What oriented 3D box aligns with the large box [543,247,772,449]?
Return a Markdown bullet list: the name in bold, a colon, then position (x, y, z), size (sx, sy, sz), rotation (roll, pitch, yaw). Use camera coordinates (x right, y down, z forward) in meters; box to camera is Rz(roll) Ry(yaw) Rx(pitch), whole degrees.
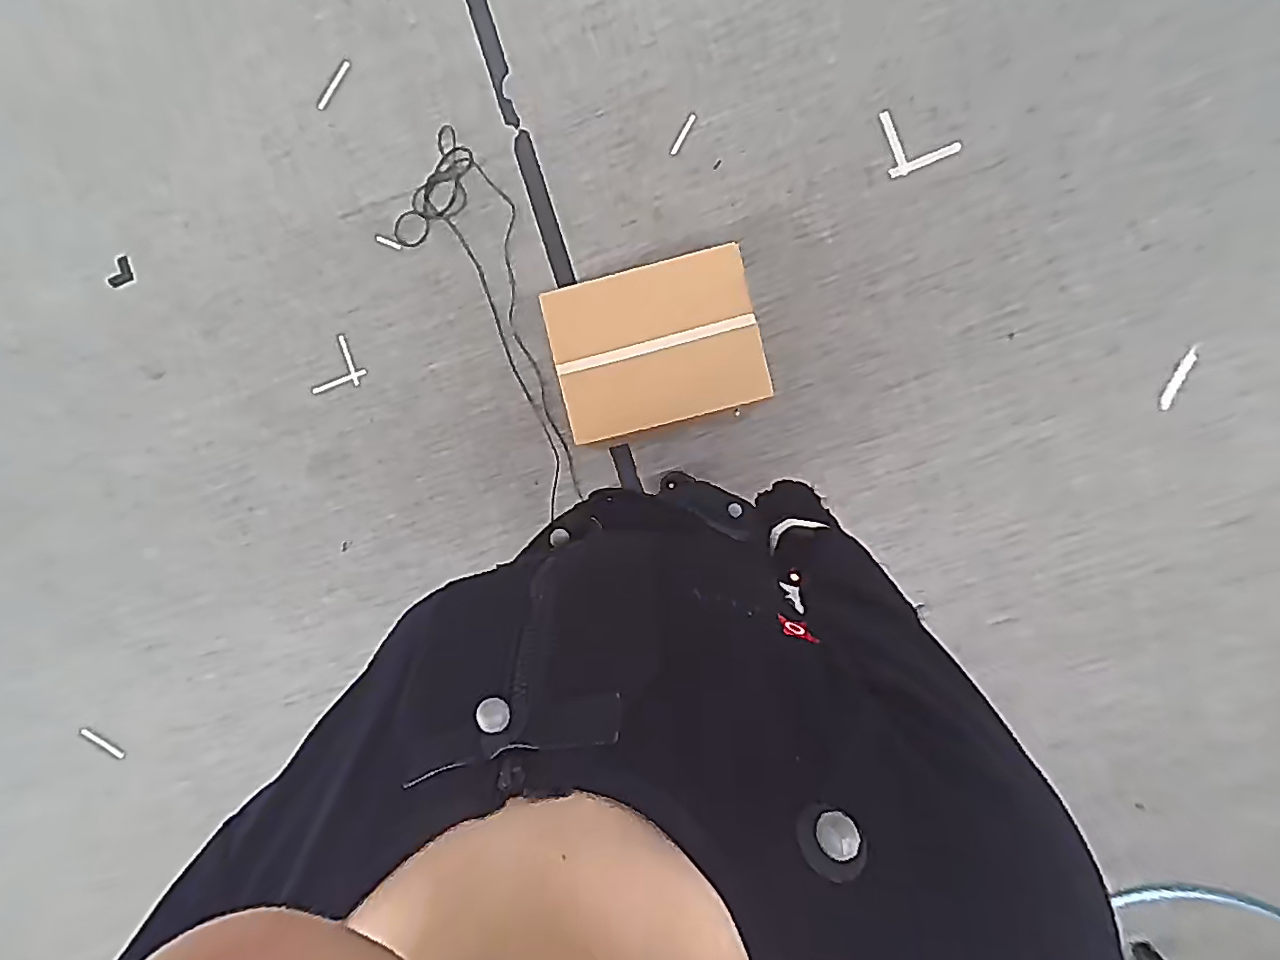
- **large box**: position (0.042, -0.267, 1.220), size (0.408, 0.320, 0.320), rotation (-14, 90, 4)
